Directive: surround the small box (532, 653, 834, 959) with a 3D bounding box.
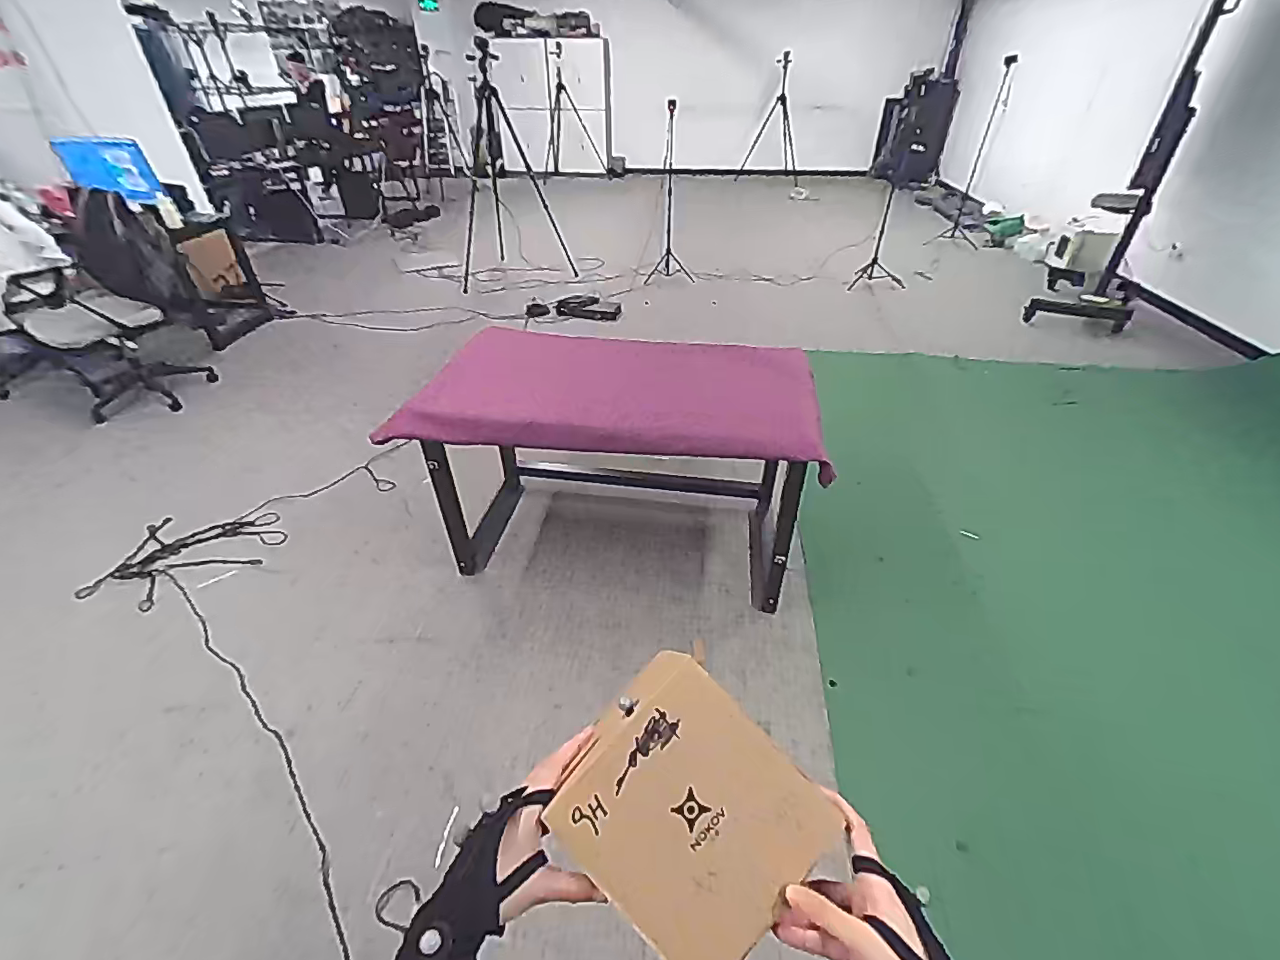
[{"bbox_3d":[0.028,0.275,0.485,0.168,0.176,0.179,-43,83,-14],"label":"small box"}]
